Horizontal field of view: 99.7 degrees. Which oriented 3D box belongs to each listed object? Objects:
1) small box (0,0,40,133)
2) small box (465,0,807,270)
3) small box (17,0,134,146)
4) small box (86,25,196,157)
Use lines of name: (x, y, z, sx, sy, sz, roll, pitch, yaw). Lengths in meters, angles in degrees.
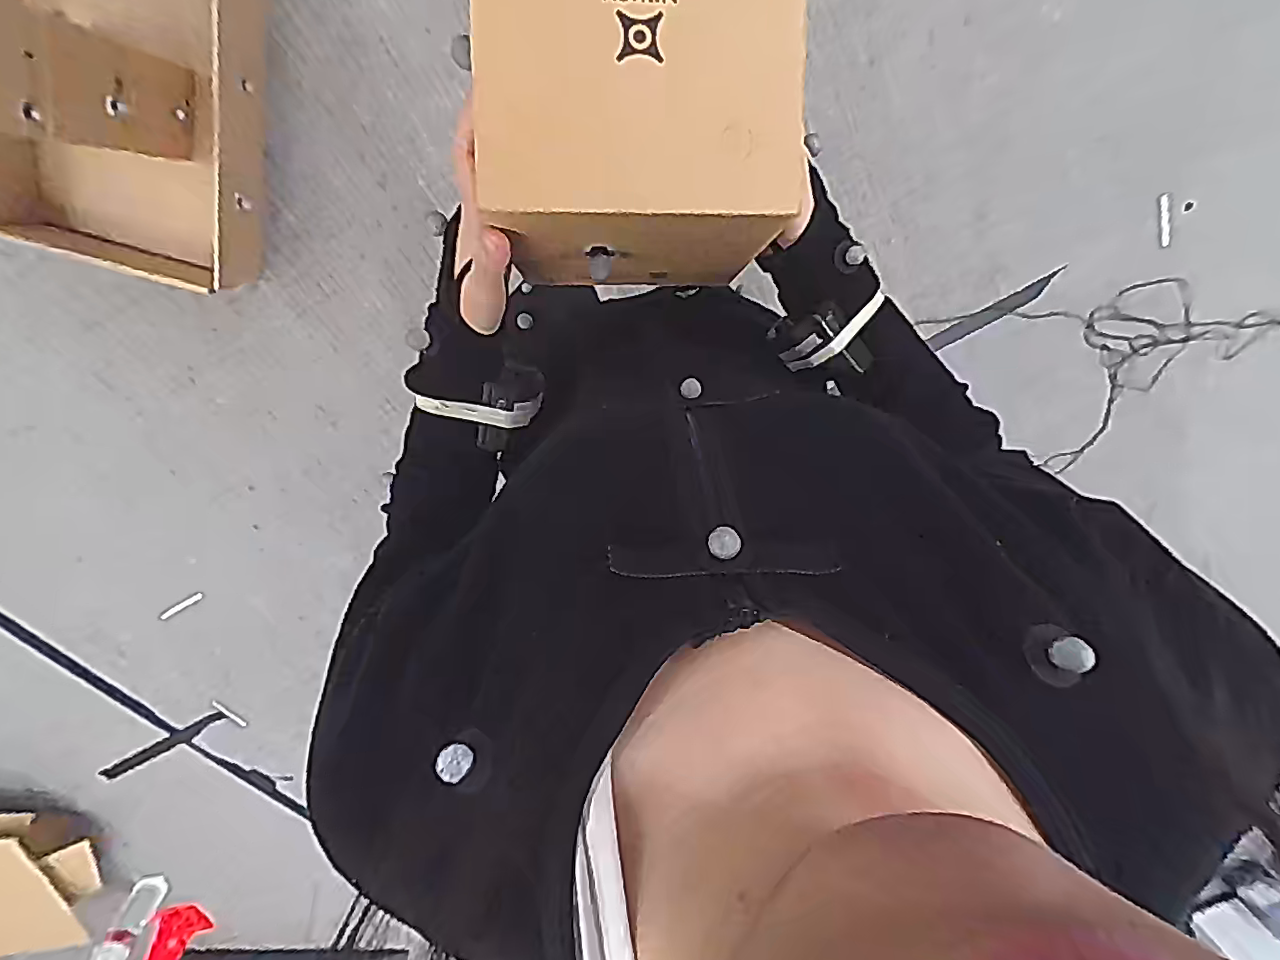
small box: (-0.920, -0.559, 0.678, 0.179, 0.176, 0.168, 14, 114, -12)
small box: (-0.005, -0.238, 0.336, 0.168, 0.176, 0.179, -1, 96, -3)
small box: (-0.933, -0.632, 0.824, 0.179, 0.176, 0.168, 14, 114, -15)
small box: (-0.950, -0.702, 0.969, 0.179, 0.176, 0.168, 16, 114, -15)
